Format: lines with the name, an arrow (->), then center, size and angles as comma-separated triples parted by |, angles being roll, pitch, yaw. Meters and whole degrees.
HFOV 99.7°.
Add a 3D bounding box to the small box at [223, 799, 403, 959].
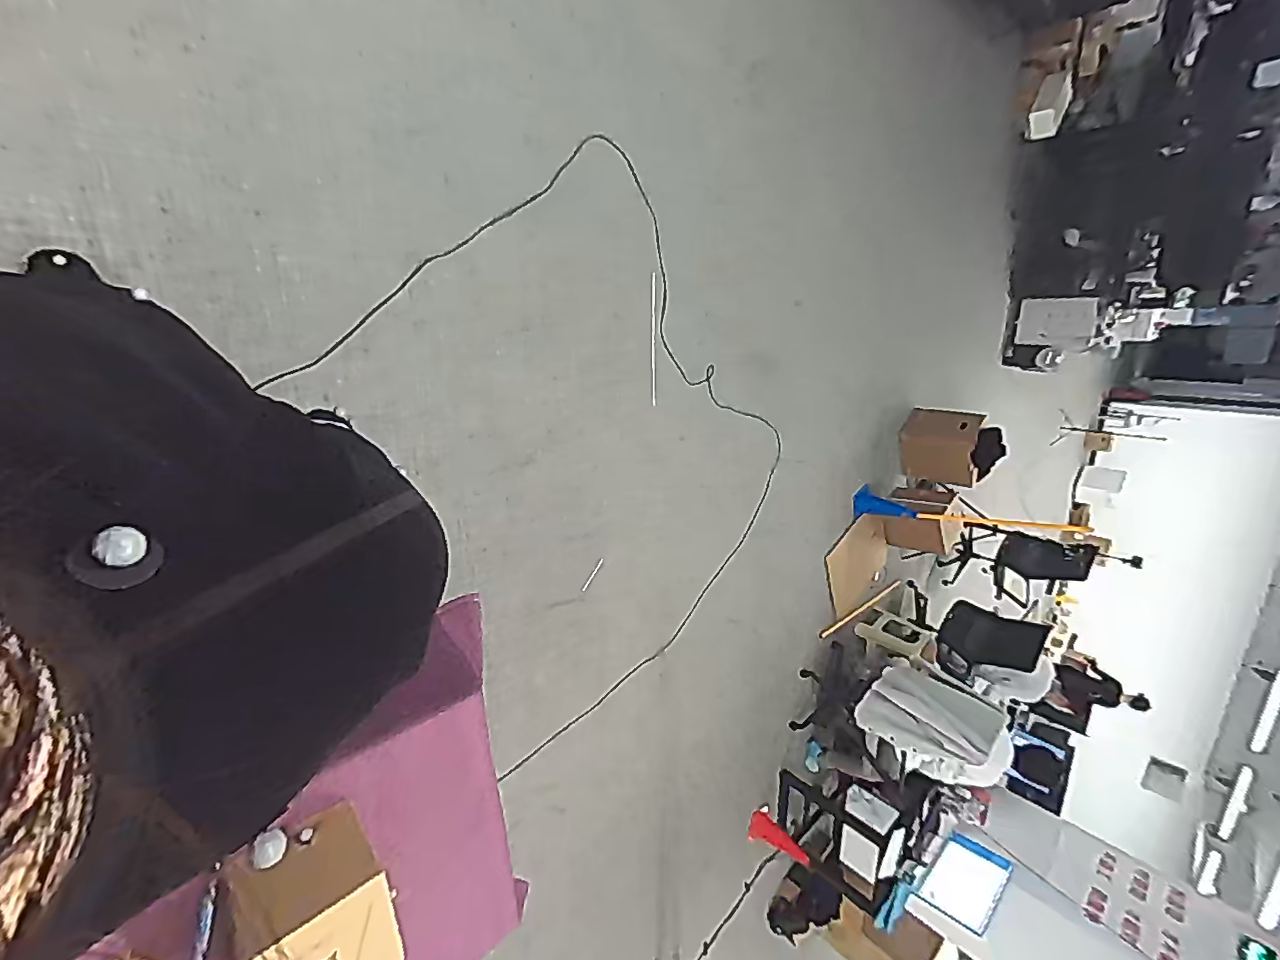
small box -> -0.453, 0.600, 0.752 | 0.168, 0.176, 0.179 | -17, 113, -40
